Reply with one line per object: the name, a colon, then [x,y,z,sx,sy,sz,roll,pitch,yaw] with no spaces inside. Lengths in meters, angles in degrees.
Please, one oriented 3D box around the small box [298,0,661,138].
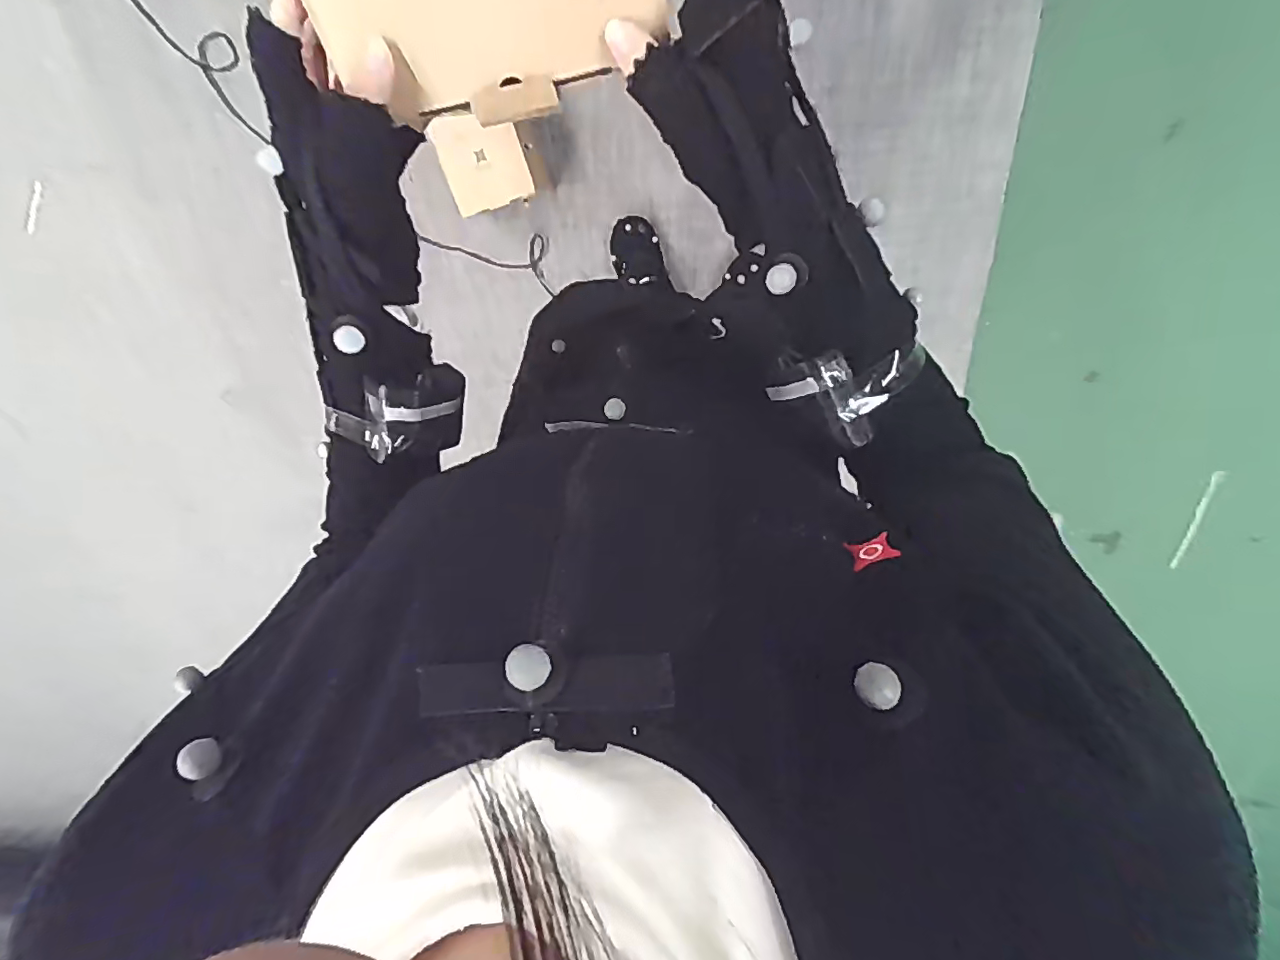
small box: [-0.086,-0.312,0.276,0.168,0.176,0.179,-11,133,9]
